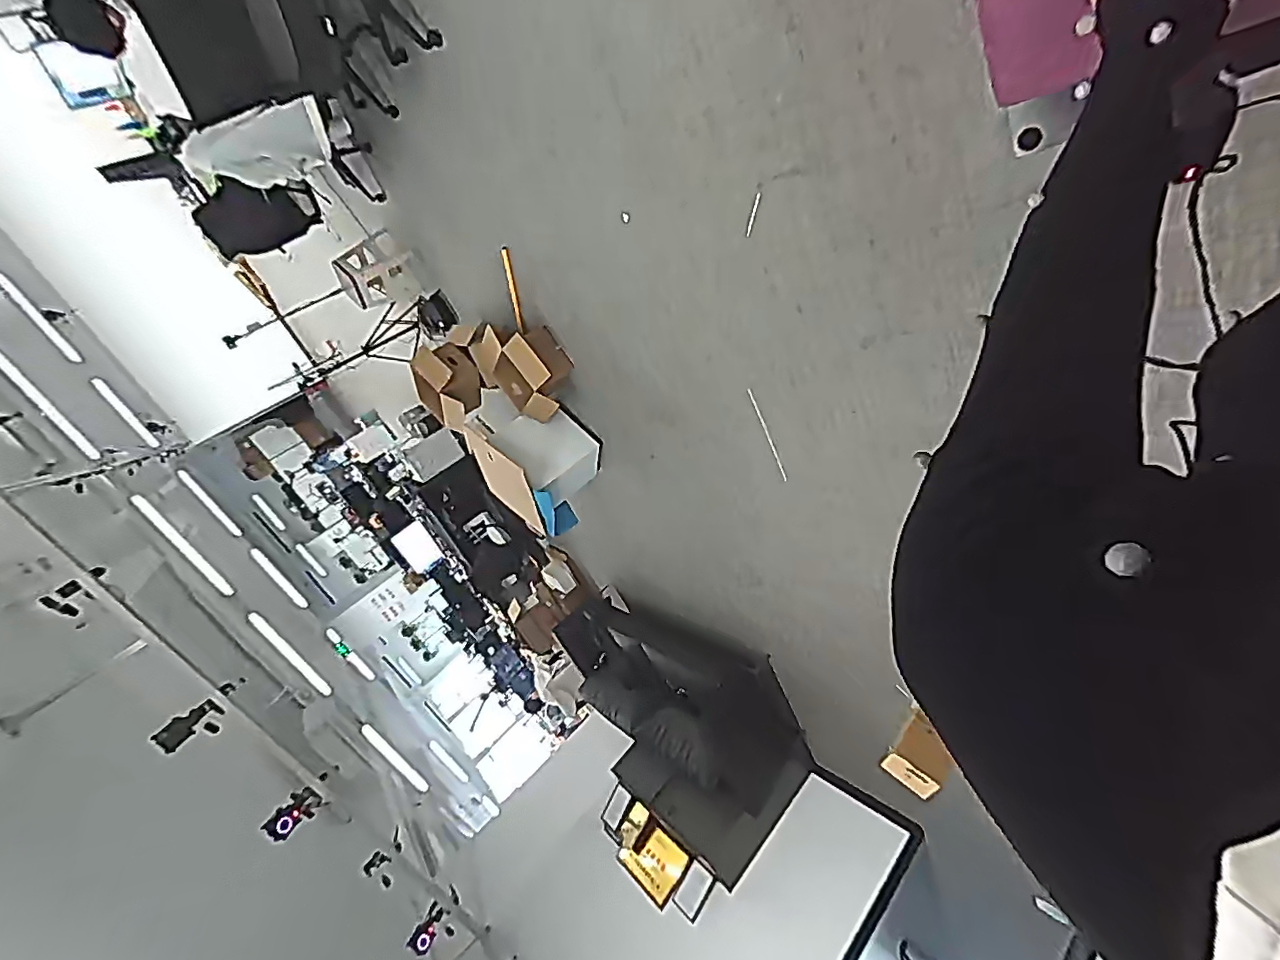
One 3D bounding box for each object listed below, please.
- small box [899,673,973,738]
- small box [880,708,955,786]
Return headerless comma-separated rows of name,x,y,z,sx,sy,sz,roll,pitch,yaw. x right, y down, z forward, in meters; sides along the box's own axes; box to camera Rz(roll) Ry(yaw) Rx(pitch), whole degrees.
small box,1.107,0.862,2.020,0.168,0.176,0.179,33,148,29
small box,0.998,0.953,1.940,0.168,0.176,0.179,33,149,29
